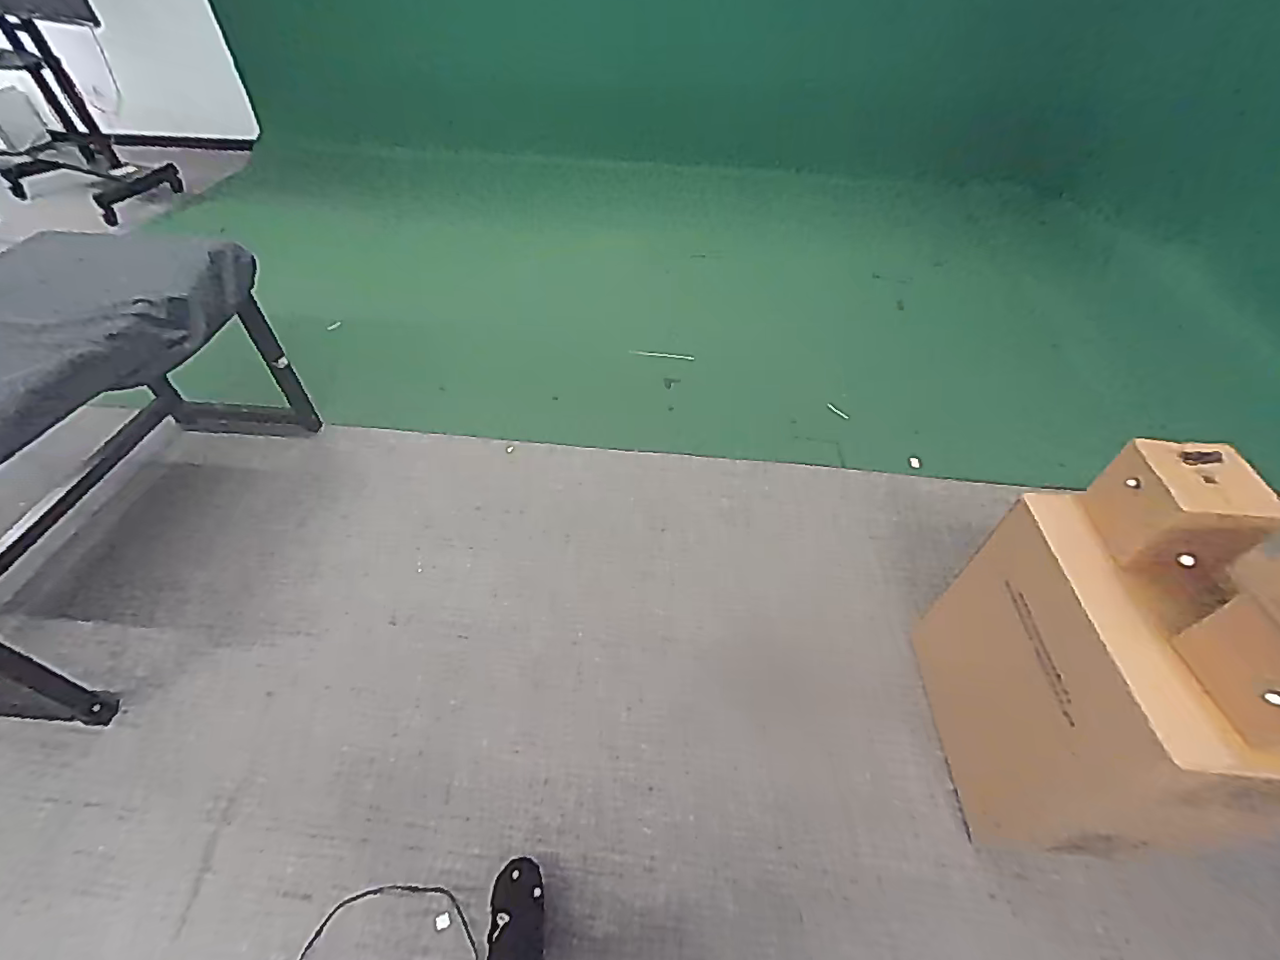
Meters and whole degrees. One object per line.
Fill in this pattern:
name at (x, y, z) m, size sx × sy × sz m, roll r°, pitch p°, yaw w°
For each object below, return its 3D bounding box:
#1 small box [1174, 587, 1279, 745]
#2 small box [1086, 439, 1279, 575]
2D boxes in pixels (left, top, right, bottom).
small box at (0.956, 0.268, 0.777) m, size 0.168 × 0.176 × 0.179 m, roll -3°, pitch 45°, yaw -3°
small box at (0.970, 0.048, 0.982) m, size 0.168 × 0.176 × 0.179 m, roll 4°, pitch 47°, yaw 7°
